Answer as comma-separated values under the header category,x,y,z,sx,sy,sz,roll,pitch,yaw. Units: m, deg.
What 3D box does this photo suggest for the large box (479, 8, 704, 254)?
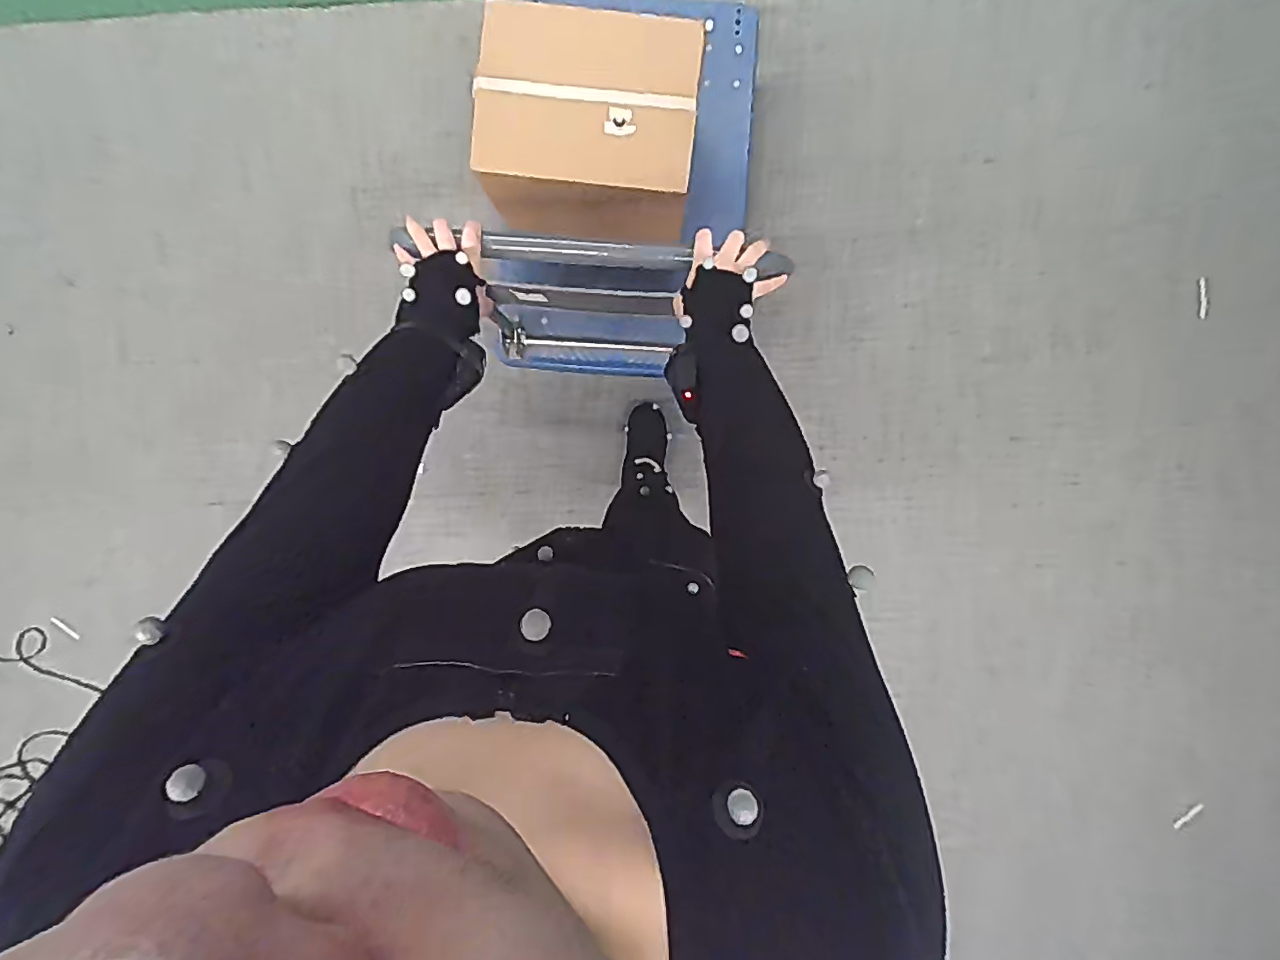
category,x,y,z,sx,sy,sz,roll,pitch,yaw
large box,-0.095,-0.710,1.155,0.408,0.320,0.320,6,92,0
